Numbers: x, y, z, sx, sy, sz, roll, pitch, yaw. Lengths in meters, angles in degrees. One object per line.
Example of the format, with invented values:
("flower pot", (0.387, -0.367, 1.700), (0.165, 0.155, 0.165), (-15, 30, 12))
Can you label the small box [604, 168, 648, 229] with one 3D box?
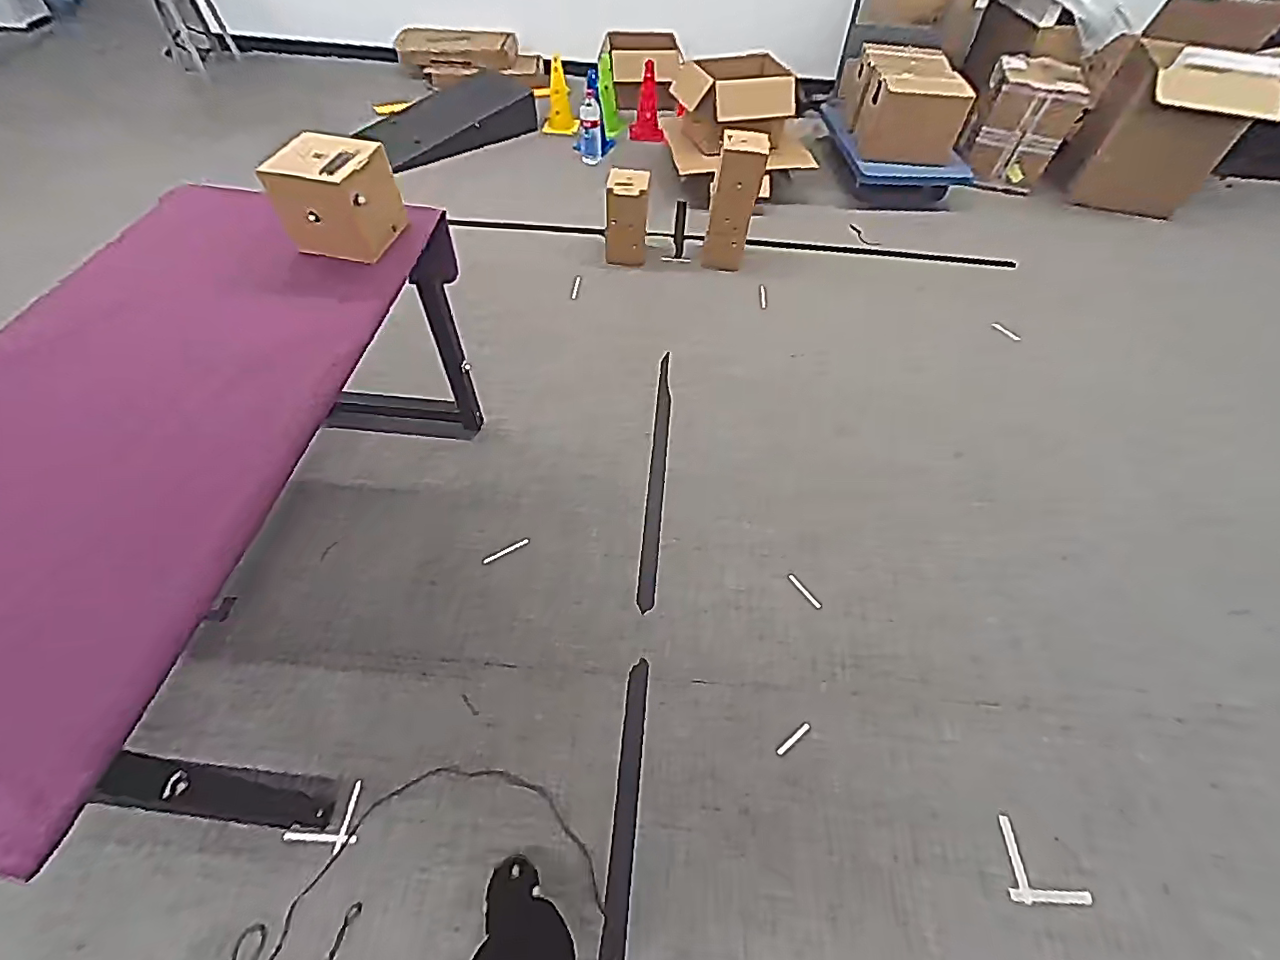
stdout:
("small box", (-0.057, -1.172, 2.253), (0.168, 0.176, 0.179), (5, 53, 1))

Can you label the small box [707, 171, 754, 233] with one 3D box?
("small box", (0.376, -1.168, 2.275), (0.168, 0.176, 0.179), (6, 55, 0))

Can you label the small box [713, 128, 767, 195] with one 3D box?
("small box", (0.395, -1.254, 2.136), (0.179, 0.176, 0.168), (8, 56, 0))

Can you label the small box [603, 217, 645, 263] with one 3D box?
("small box", (-0.070, -1.077, 2.387), (0.179, 0.176, 0.168), (2, 54, 0))

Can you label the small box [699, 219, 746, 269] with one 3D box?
("small box", (0.367, -1.064, 2.400), (0.179, 0.176, 0.168), (9, 54, 2))
